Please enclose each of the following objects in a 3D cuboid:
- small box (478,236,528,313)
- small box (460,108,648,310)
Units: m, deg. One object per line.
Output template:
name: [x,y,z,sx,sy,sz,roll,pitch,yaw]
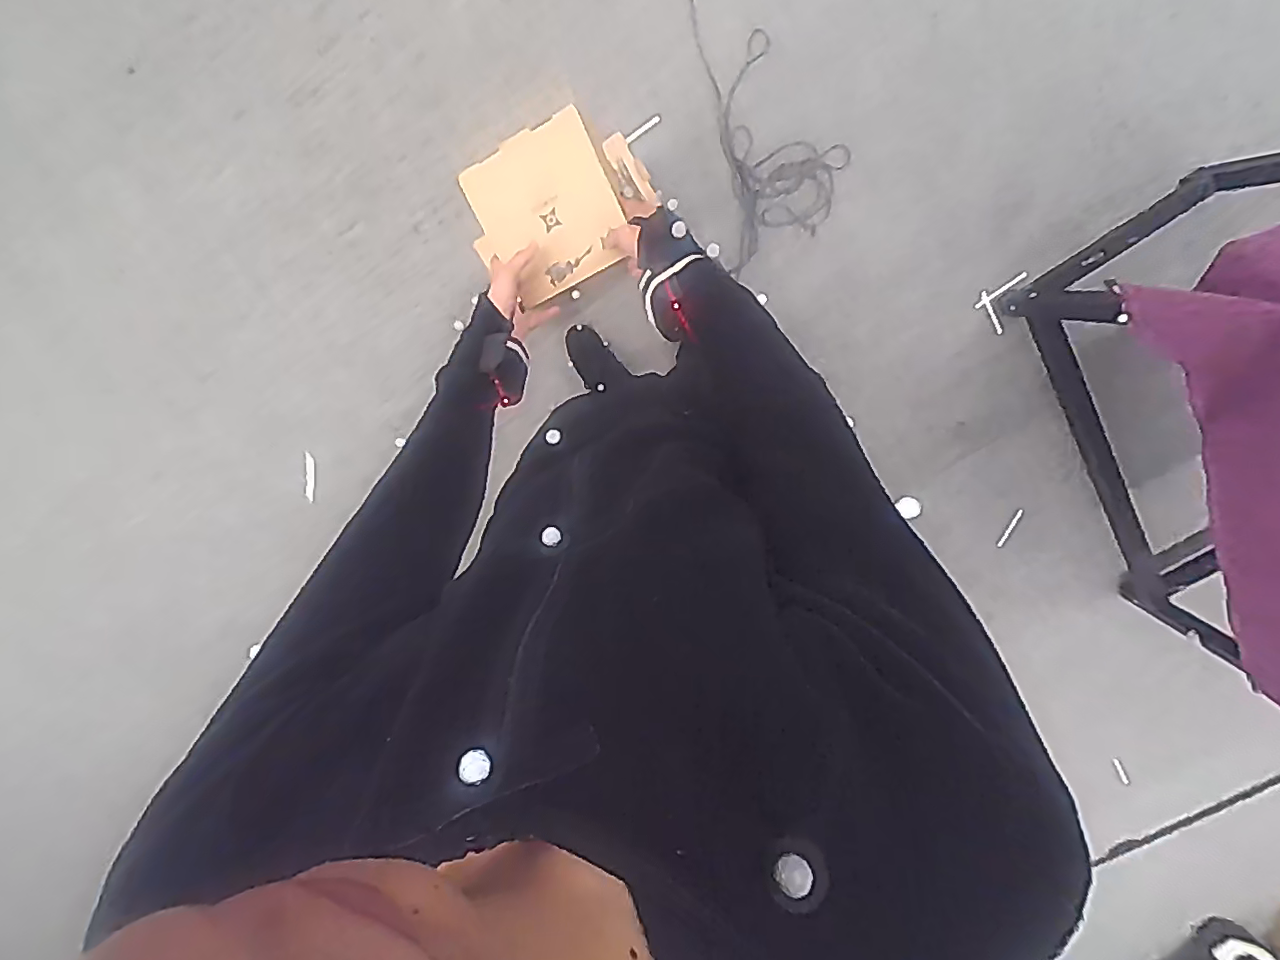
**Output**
small box: [-0.225,-0.494,1.201,0.179,0.176,0.168,-28,108,11]
small box: [-0.102,-0.343,0.725,0.168,0.176,0.179,-23,104,14]
